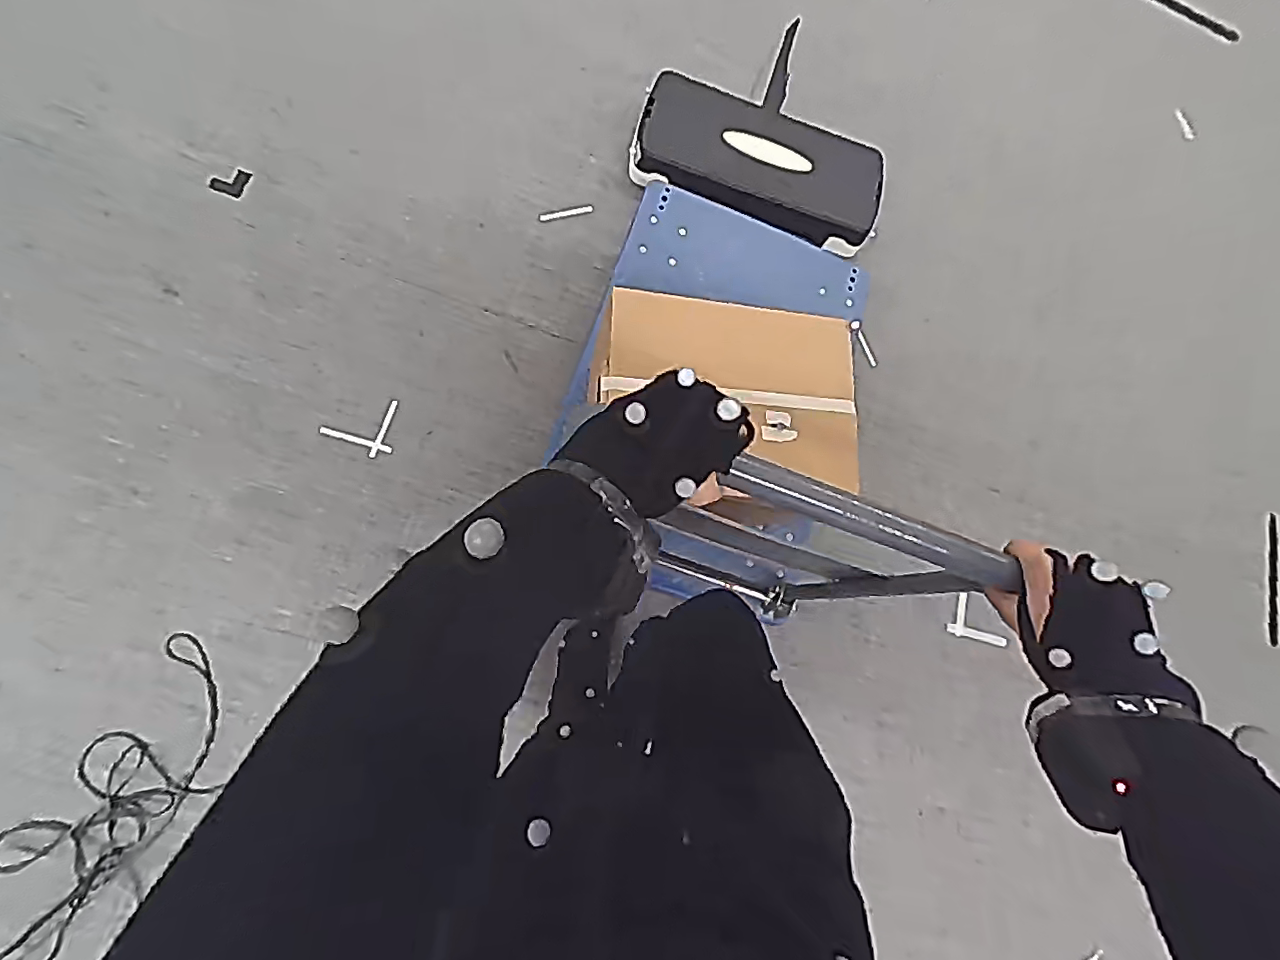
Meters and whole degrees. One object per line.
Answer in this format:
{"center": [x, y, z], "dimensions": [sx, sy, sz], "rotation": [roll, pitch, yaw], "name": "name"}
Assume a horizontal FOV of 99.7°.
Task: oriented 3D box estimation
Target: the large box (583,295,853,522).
{"center": [0.113, -0.098, 0.984], "dimensions": [0.408, 0.320, 0.320], "rotation": [4, 79, -12], "name": "large box"}
